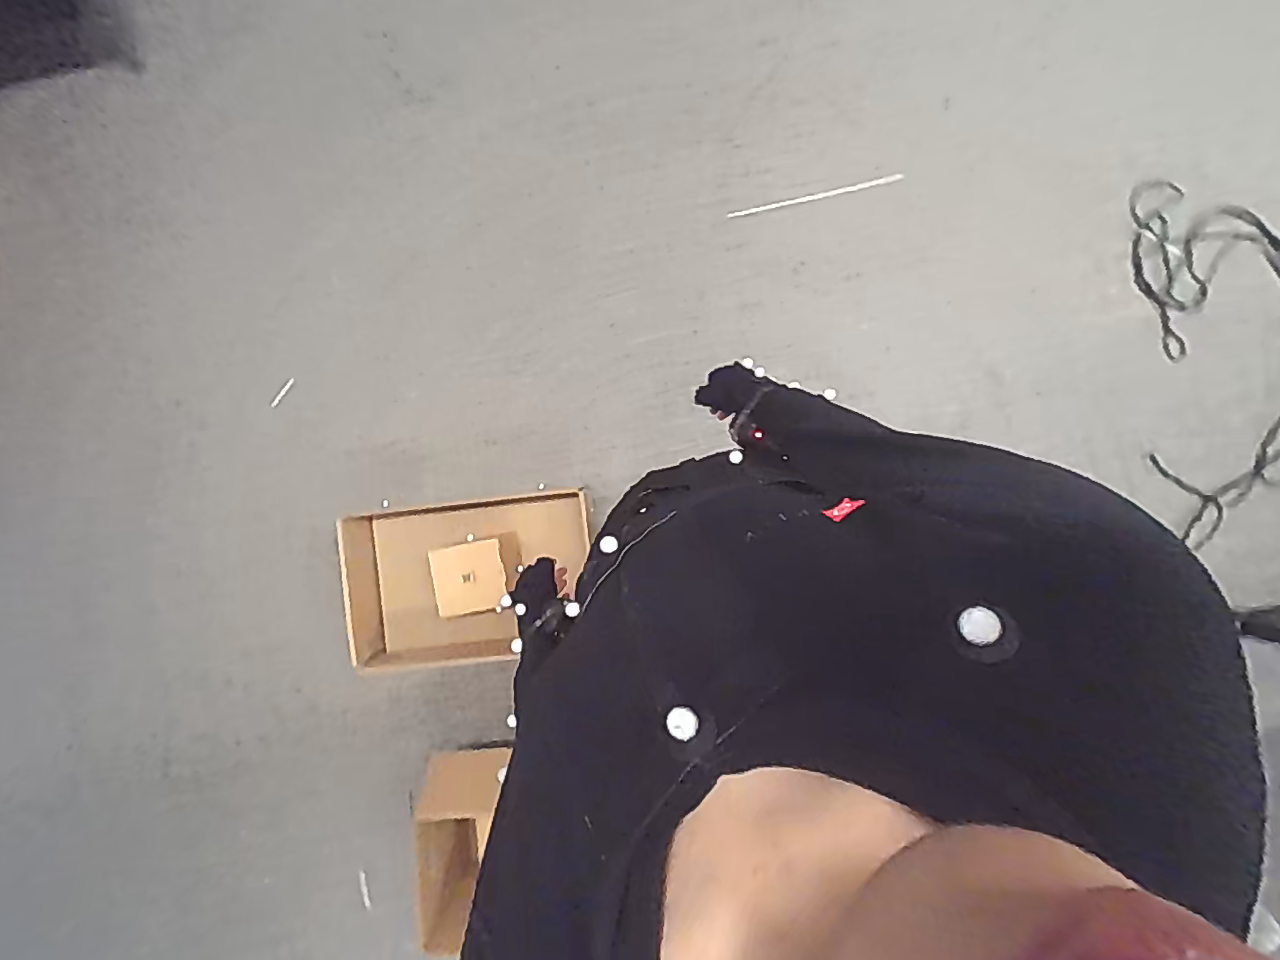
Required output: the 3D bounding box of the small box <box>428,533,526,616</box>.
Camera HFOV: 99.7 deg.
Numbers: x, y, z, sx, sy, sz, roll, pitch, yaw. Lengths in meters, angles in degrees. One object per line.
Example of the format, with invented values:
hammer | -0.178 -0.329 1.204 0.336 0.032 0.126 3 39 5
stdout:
small box | -0.404 0.232 1.360 0.179 0.176 0.168 -11 89 2
